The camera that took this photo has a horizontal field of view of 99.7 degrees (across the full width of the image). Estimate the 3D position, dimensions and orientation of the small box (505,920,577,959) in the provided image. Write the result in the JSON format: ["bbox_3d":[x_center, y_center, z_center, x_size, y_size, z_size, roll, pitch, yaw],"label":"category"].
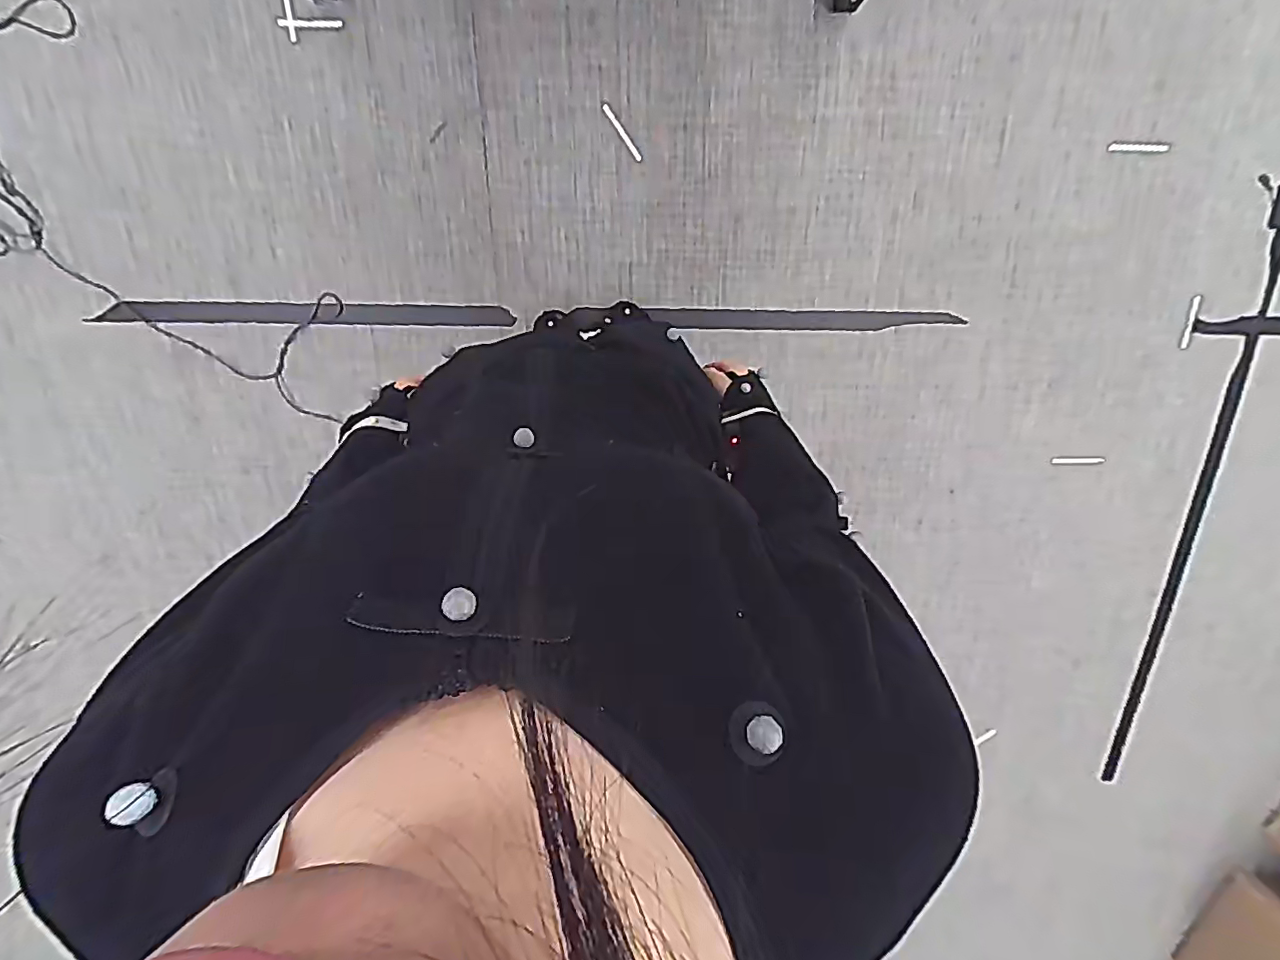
[{"bbox_3d":[-0.243,1.231,1.327,0.168,0.176,0.179,-1,106,-3],"label":"small box"}]

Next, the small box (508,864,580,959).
[{"bbox_3d":[-0.256,1.192,1.483,0.179,0.176,0.168,-2,106,-2],"label":"small box"}]
